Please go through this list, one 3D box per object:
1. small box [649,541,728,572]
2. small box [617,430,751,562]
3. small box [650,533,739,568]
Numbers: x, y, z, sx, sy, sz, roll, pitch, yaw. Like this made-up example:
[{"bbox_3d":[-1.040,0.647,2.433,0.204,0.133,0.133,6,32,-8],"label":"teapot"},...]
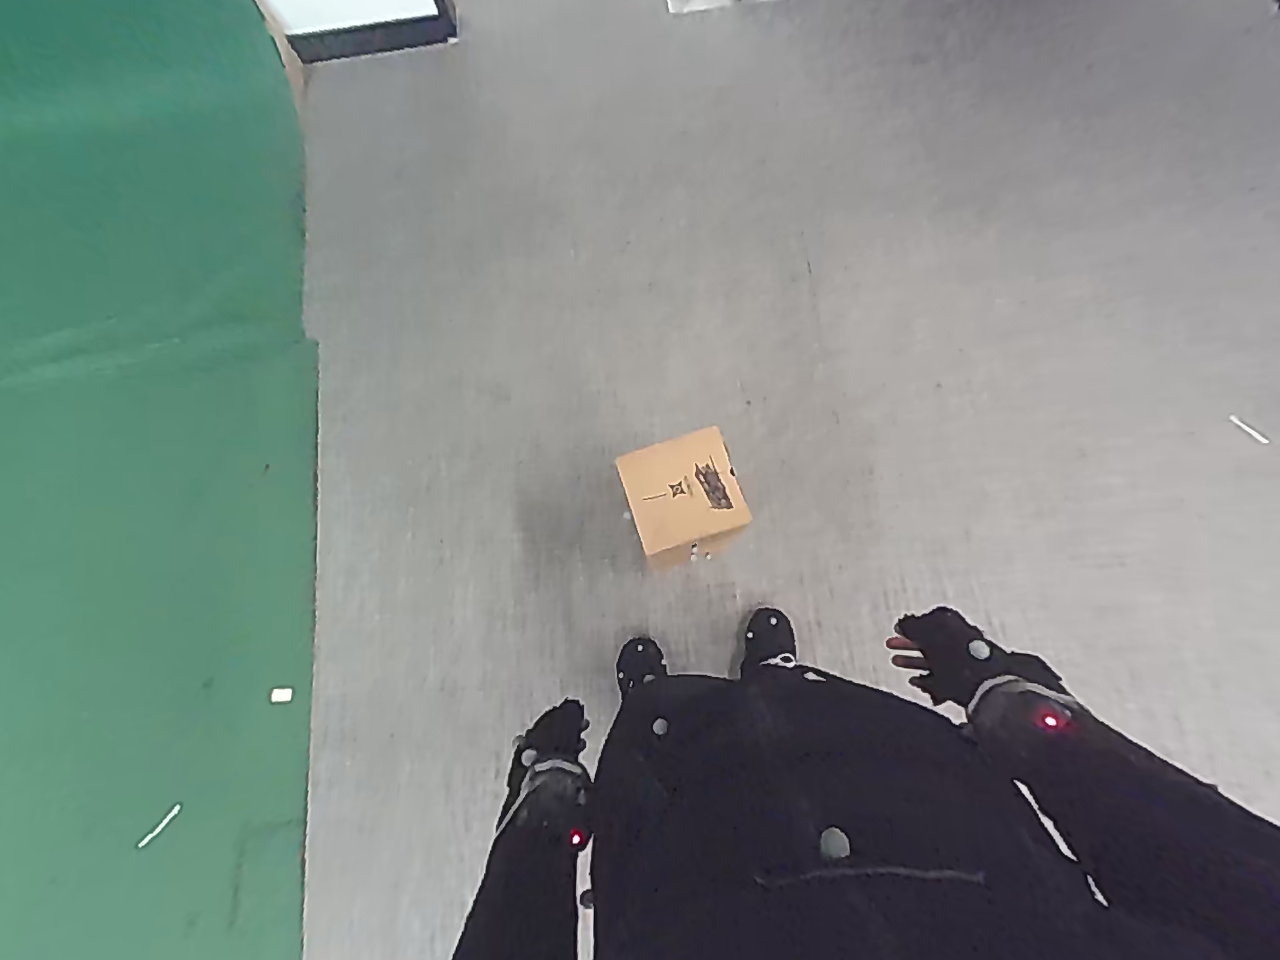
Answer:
[{"bbox_3d":[0.087,0.107,1.243,0.179,0.176,0.168,-19,77,0],"label":"small box"},{"bbox_3d":[0.071,0.034,0.923,0.179,0.176,0.168,-18,77,0],"label":"small box"},{"bbox_3d":[0.079,0.071,1.086,0.179,0.176,0.168,-21,79,-1],"label":"small box"}]
